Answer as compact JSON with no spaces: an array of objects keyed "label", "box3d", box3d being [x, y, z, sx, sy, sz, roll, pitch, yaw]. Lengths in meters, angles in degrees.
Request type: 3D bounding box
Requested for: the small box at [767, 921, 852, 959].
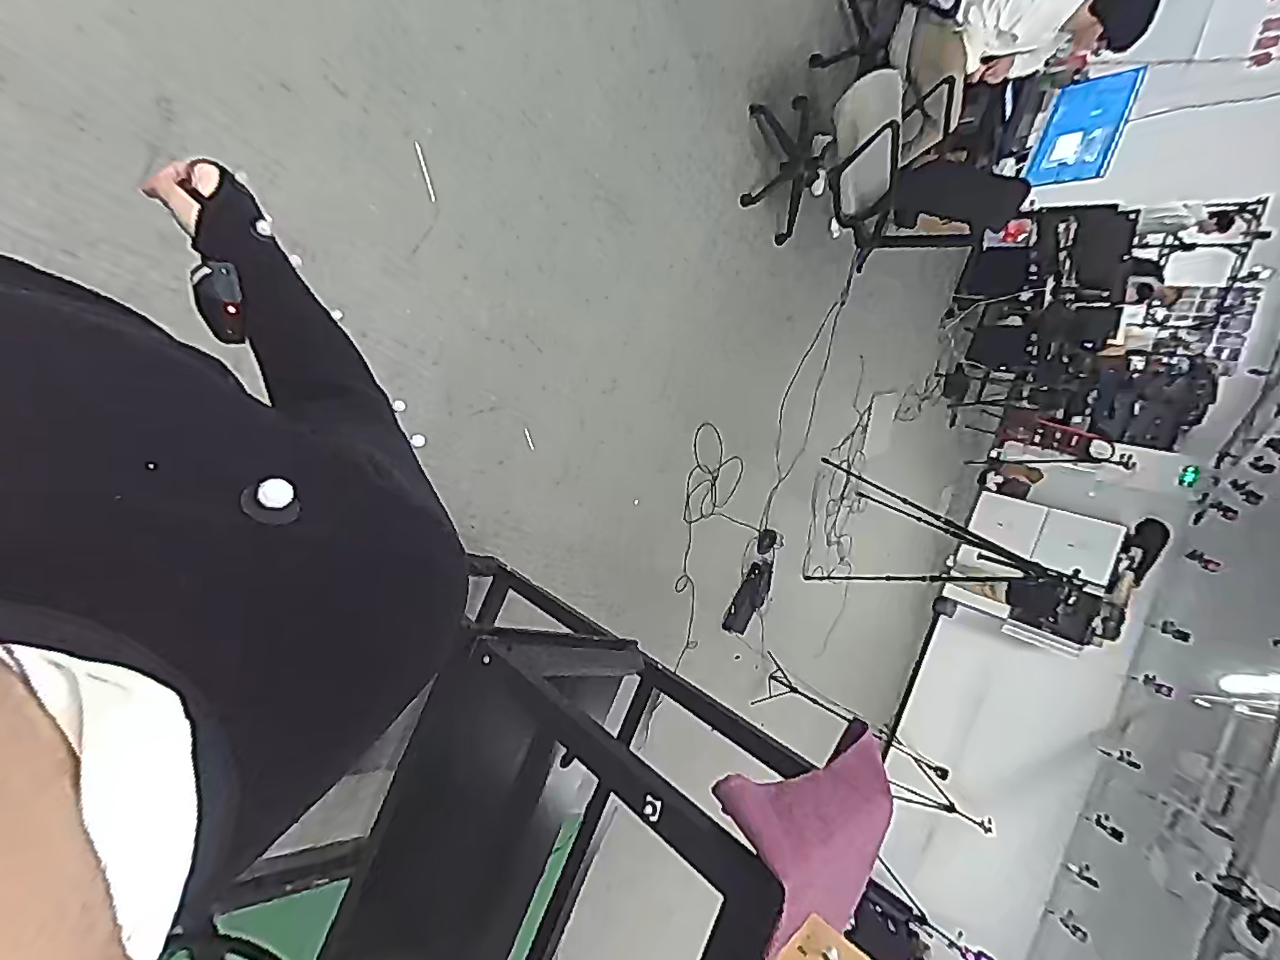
[{"label":"small box","box3d":[0.237,0.746,0.708,0.168,0.176,0.179,24,87,-51]}]
